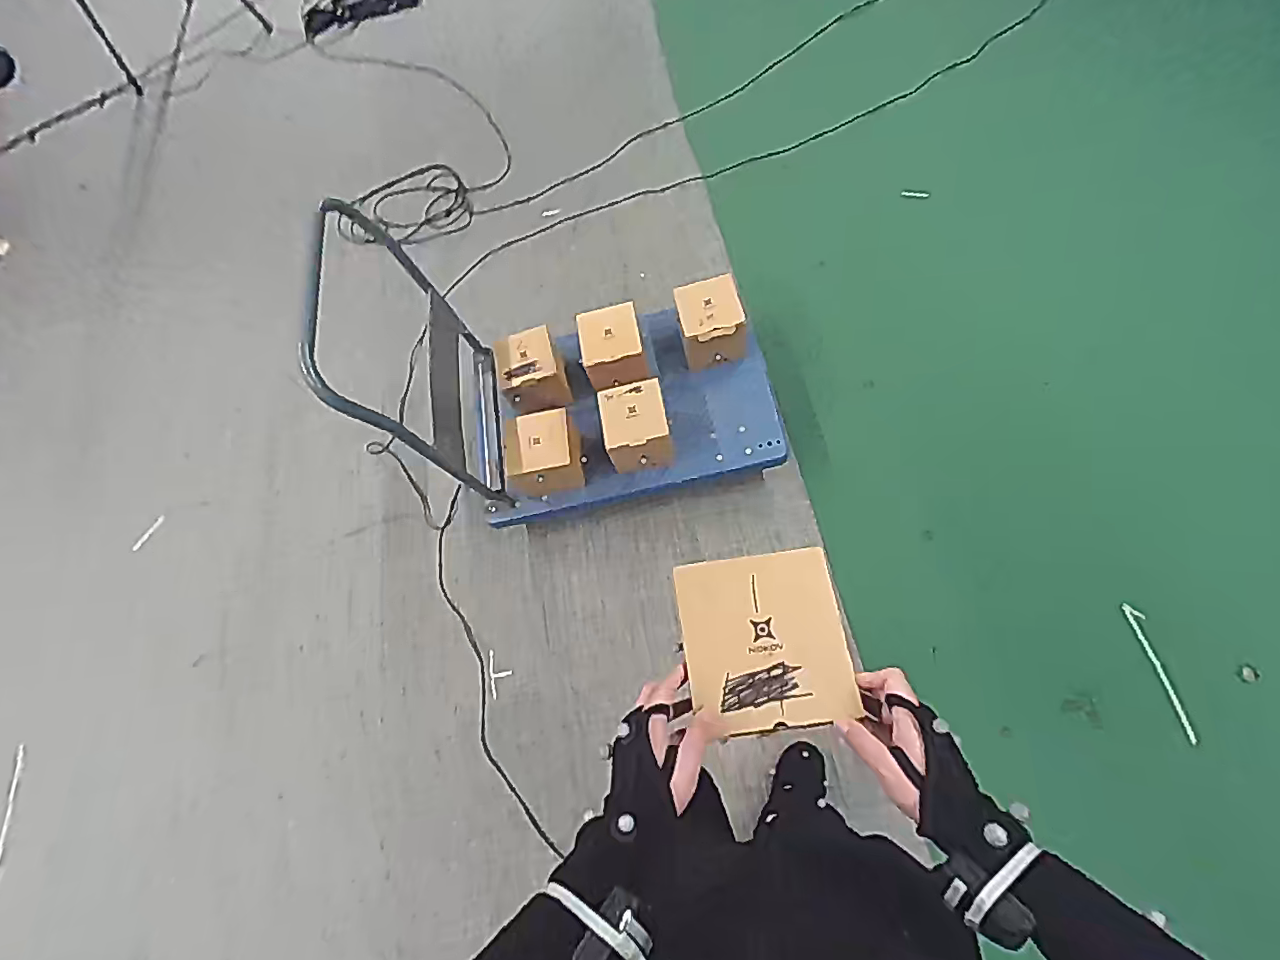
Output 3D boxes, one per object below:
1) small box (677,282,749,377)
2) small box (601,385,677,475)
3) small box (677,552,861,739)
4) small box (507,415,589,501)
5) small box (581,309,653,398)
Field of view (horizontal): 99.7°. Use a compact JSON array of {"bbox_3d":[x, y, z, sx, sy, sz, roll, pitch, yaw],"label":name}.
[{"bbox_3d":[0.207,-0.424,1.538,0.168,0.176,0.179,-14,67,6],"label":"small box"},{"bbox_3d":[0.002,-0.125,1.454,0.168,0.176,0.179,-12,67,5],"label":"small box"},{"bbox_3d":[0.139,0.199,0.645,0.168,0.176,0.179,-8,67,1],"label":"small box"},{"bbox_3d":[-0.248,-0.054,1.471,0.179,0.176,0.168,-10,67,5],"label":"small box"},{"bbox_3d":[-0.064,-0.357,1.563,0.168,0.176,0.179,-12,68,5],"label":"small box"}]
